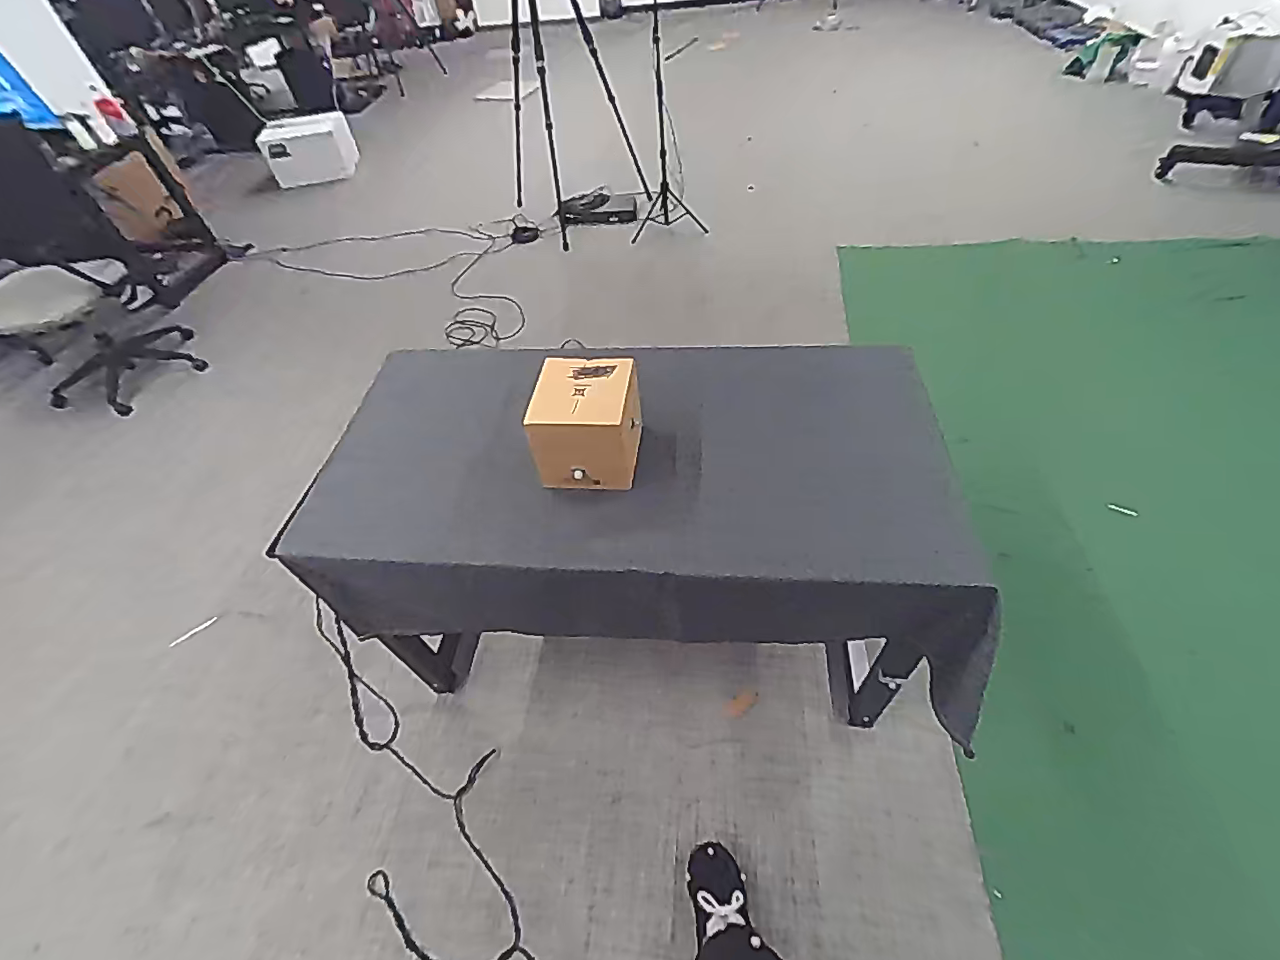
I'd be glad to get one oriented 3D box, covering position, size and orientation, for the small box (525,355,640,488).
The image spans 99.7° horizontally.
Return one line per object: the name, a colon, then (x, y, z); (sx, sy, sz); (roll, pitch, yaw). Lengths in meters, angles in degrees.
small box: (-0.094, -0.108, 0.991); (0.168, 0.176, 0.179); (2, 50, 9)
